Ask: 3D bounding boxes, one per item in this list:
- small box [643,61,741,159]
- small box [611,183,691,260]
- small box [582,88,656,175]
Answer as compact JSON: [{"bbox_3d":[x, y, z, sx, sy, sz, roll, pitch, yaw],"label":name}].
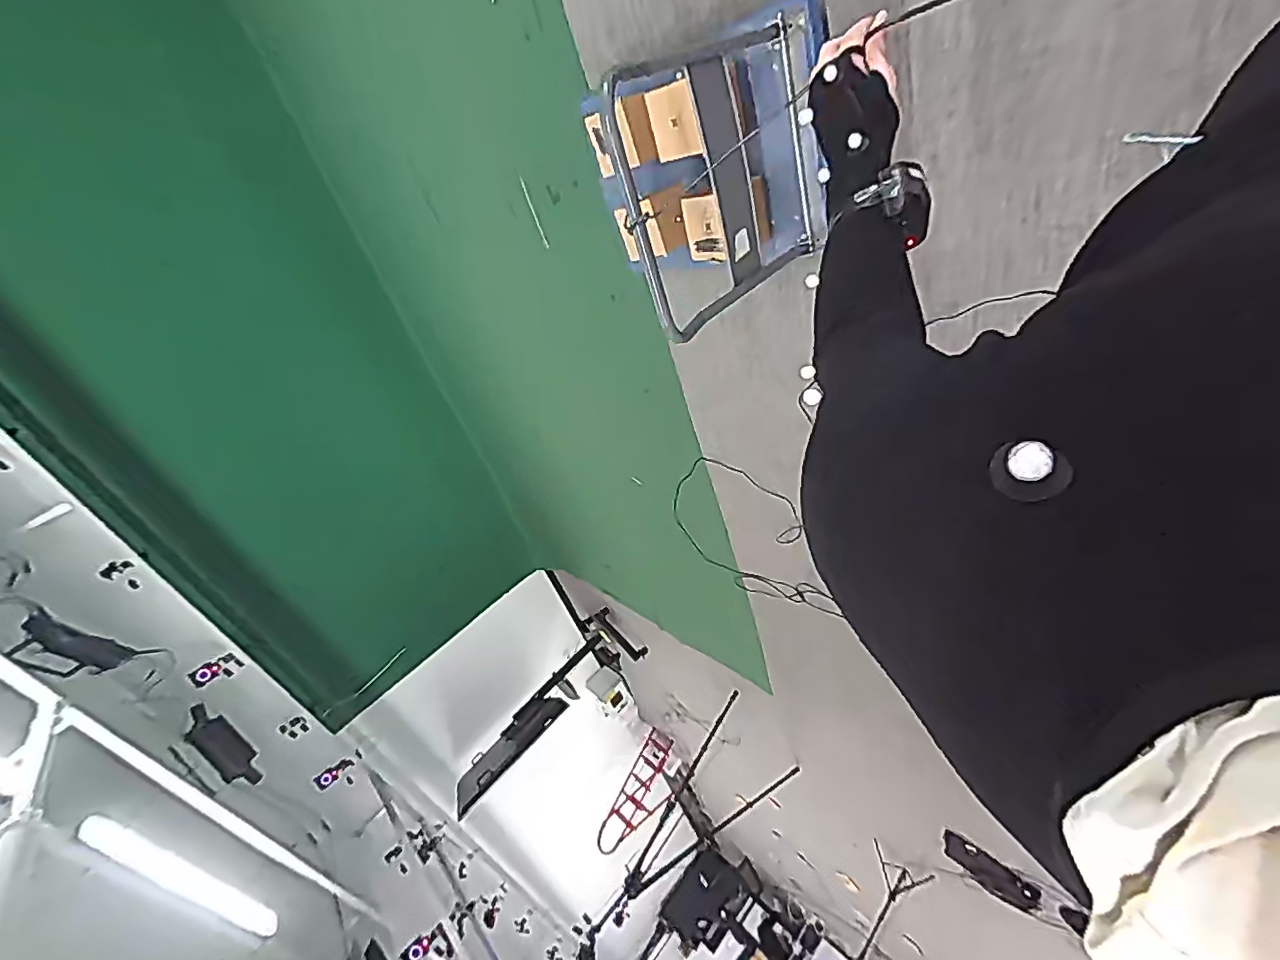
[{"bbox_3d":[0.140,-0.977,1.435,0.179,0.176,0.168,18,139,44],"label":"small box"},{"bbox_3d":[0.044,-0.834,1.743,0.179,0.176,0.168,14,135,47],"label":"small box"},{"bbox_3d":[-0.037,-1.037,1.612,0.179,0.176,0.168,15,137,45],"label":"small box"}]
